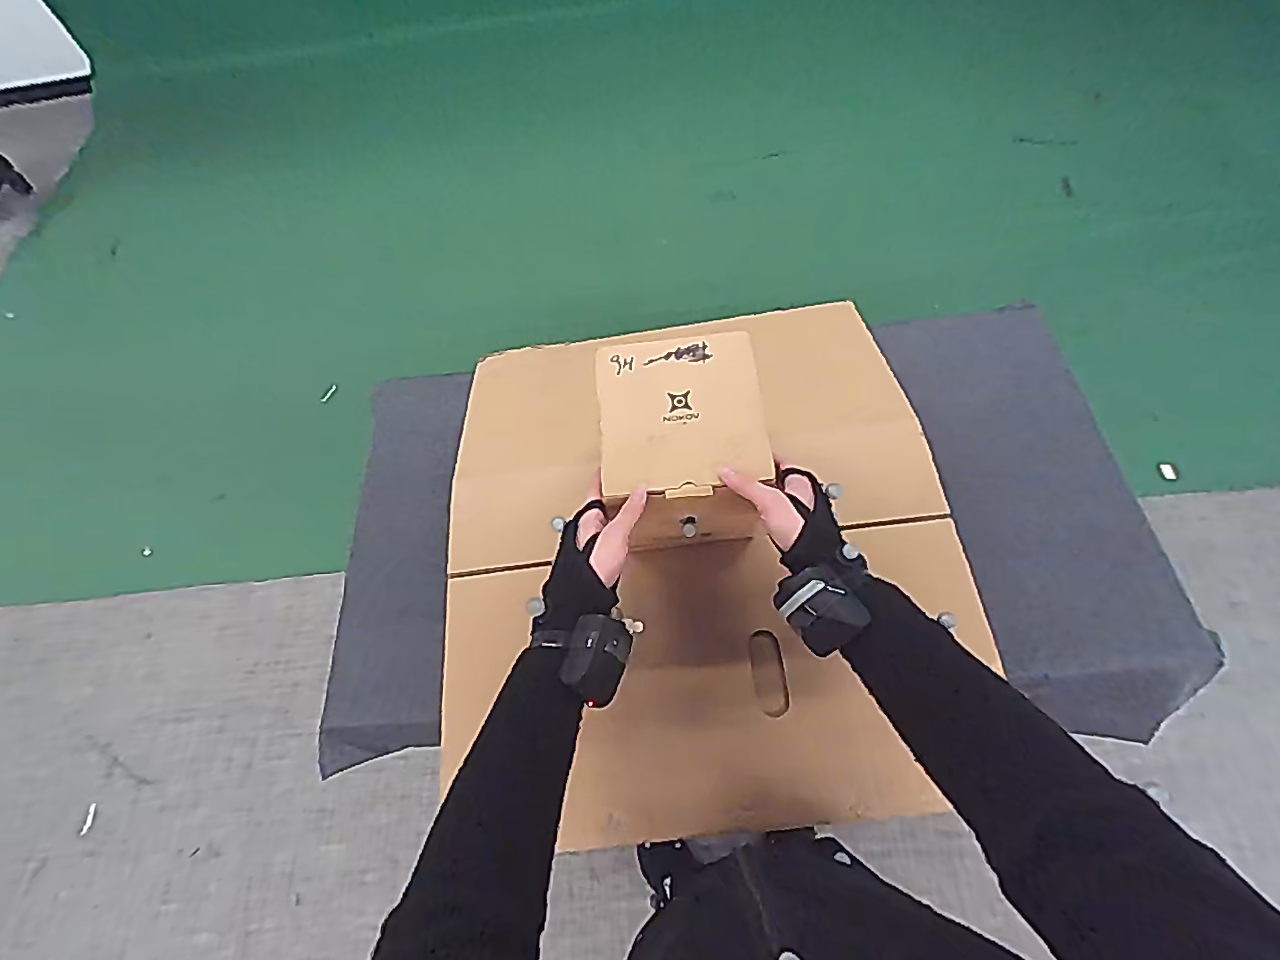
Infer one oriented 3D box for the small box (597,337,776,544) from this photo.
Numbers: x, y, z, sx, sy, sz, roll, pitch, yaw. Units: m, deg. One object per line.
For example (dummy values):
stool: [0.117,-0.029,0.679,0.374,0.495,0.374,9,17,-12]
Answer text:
small box: [0.050,-0.032,0.621,0.168,0.176,0.179,-8,66,2]
